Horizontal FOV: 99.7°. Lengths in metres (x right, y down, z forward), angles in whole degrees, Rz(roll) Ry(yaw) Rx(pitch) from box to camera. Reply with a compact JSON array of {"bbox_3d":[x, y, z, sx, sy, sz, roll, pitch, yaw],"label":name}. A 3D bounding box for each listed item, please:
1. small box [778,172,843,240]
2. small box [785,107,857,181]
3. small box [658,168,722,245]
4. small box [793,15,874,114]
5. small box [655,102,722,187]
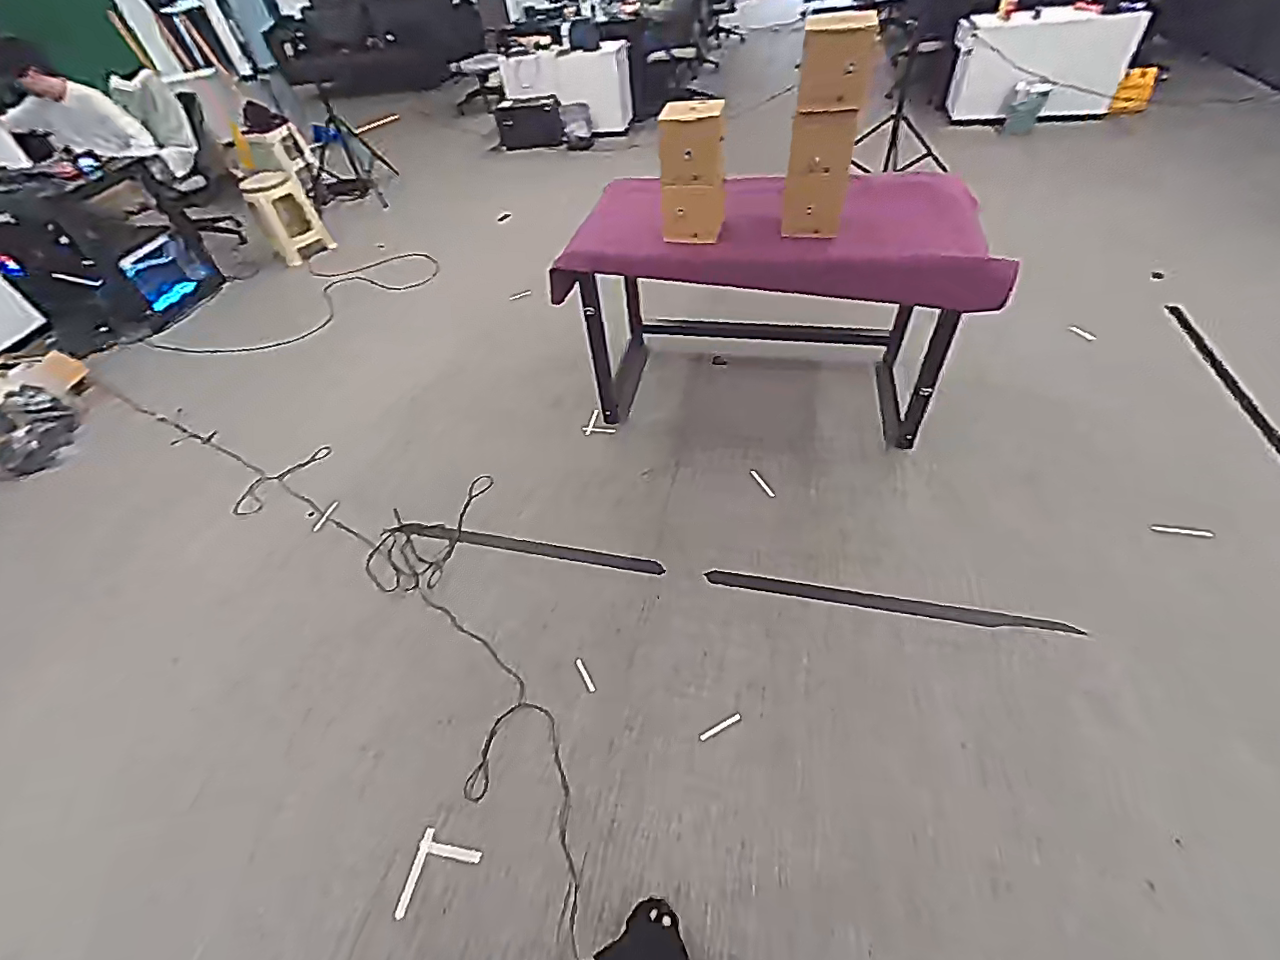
[{"bbox_3d":[0.511,-0.836,1.614,0.168,0.176,0.179,9,49,14],"label":"small box"},{"bbox_3d":[0.500,-0.949,1.495,0.168,0.176,0.179,8,50,14],"label":"small box"},{"bbox_3d":[0.158,-0.838,1.660,0.168,0.176,0.179,7,48,13],"label":"small box"},{"bbox_3d":[0.482,-1.041,1.361,0.168,0.176,0.179,6,49,11],"label":"small box"},{"bbox_3d":[0.144,-0.954,1.545,0.168,0.176,0.179,5,48,11],"label":"small box"}]
